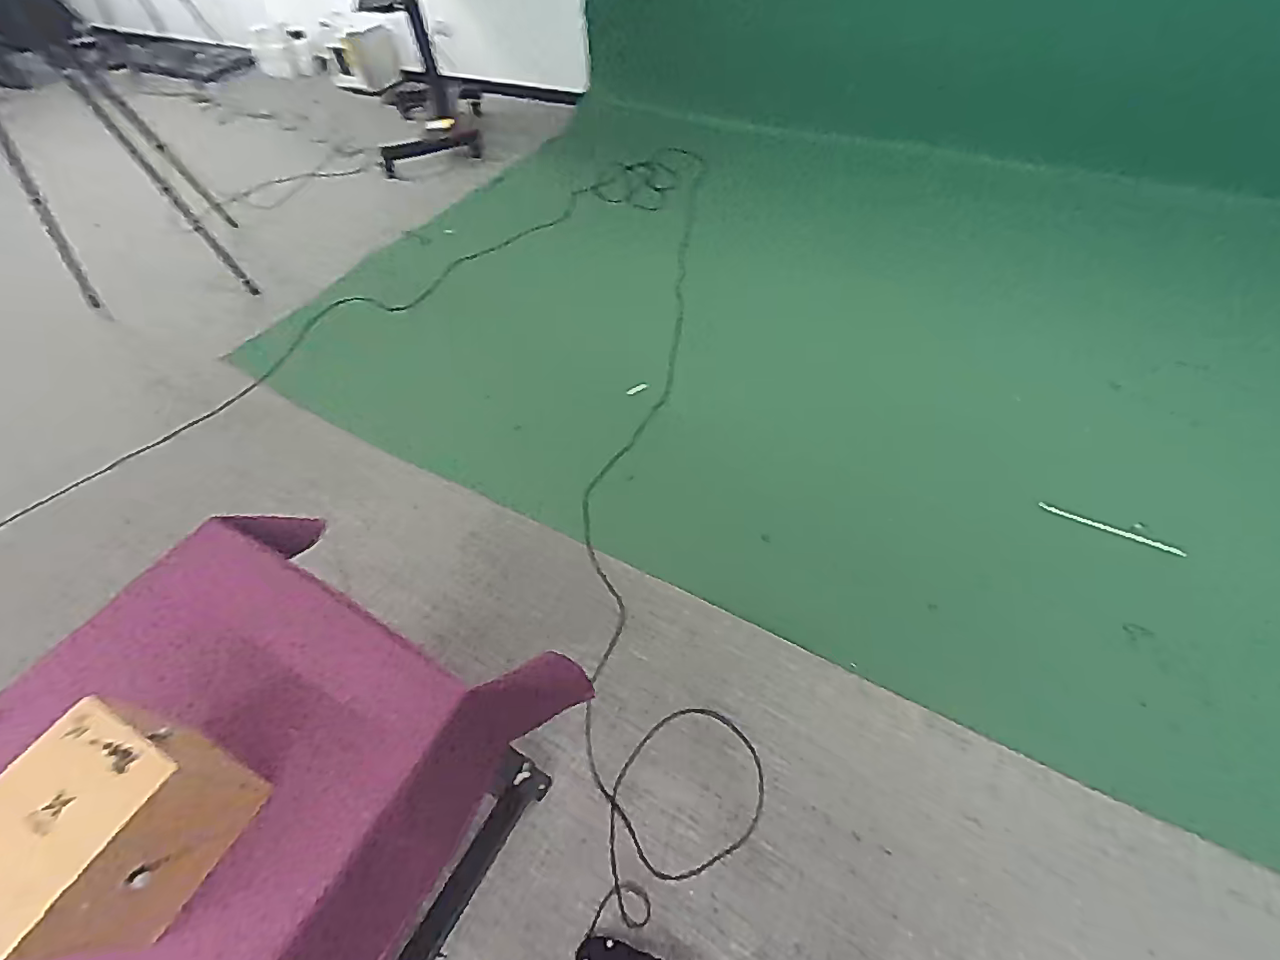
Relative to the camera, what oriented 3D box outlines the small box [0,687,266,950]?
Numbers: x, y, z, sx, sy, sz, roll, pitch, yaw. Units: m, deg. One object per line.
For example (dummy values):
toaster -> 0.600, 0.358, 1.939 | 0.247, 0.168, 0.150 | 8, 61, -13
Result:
small box -> -0.580, 0.370, 0.604 | 0.168, 0.176, 0.179 | 20, 58, 19
